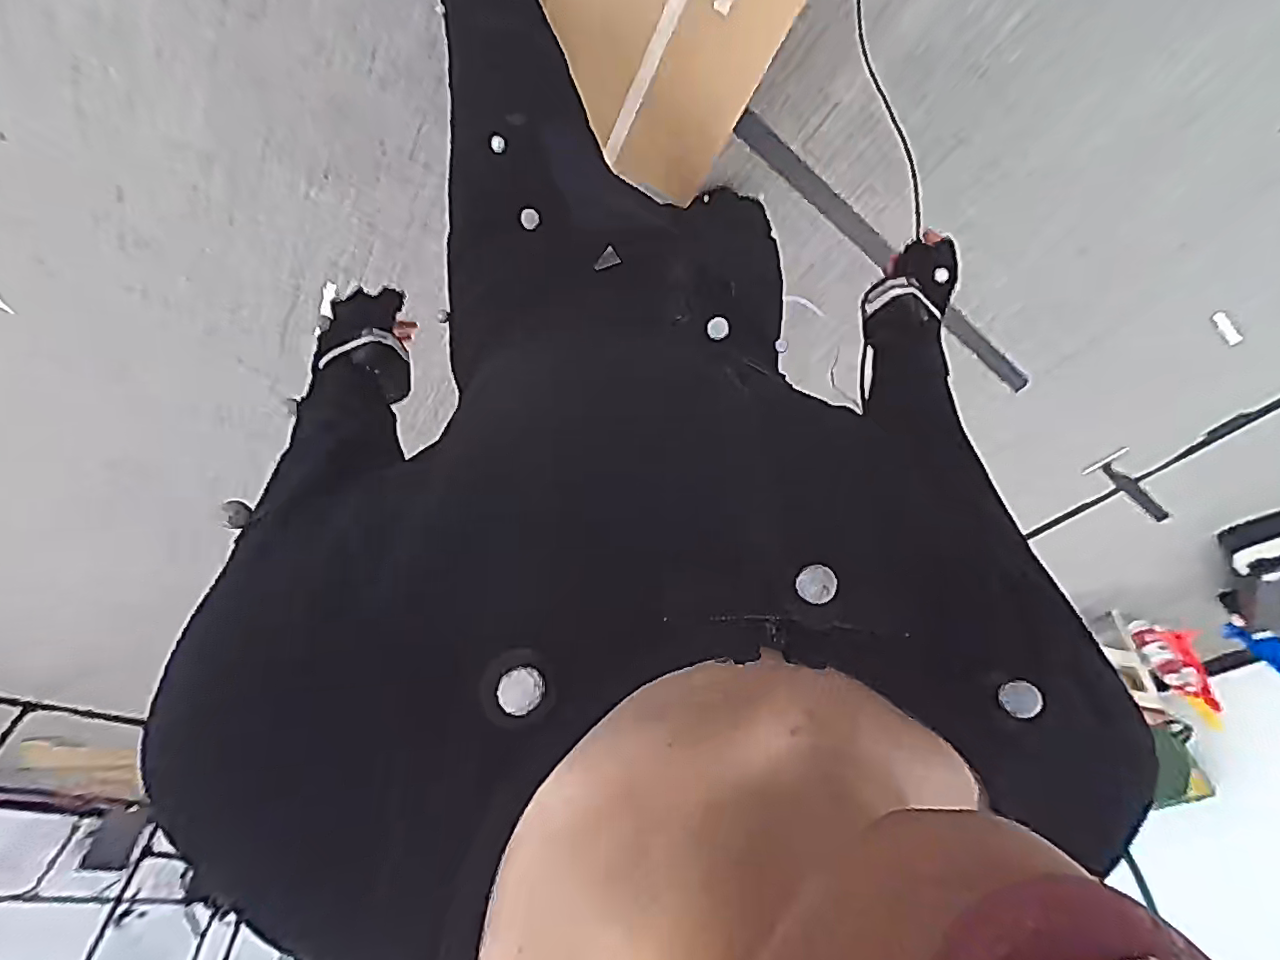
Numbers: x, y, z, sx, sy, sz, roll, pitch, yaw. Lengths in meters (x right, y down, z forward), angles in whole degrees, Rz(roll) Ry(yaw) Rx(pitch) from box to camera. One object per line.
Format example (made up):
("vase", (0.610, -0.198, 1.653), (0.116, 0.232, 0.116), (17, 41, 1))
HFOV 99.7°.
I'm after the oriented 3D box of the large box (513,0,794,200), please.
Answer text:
("large box", (0.030, -0.749, 0.850), (0.320, 0.320, 0.408), (20, 131, -21))
